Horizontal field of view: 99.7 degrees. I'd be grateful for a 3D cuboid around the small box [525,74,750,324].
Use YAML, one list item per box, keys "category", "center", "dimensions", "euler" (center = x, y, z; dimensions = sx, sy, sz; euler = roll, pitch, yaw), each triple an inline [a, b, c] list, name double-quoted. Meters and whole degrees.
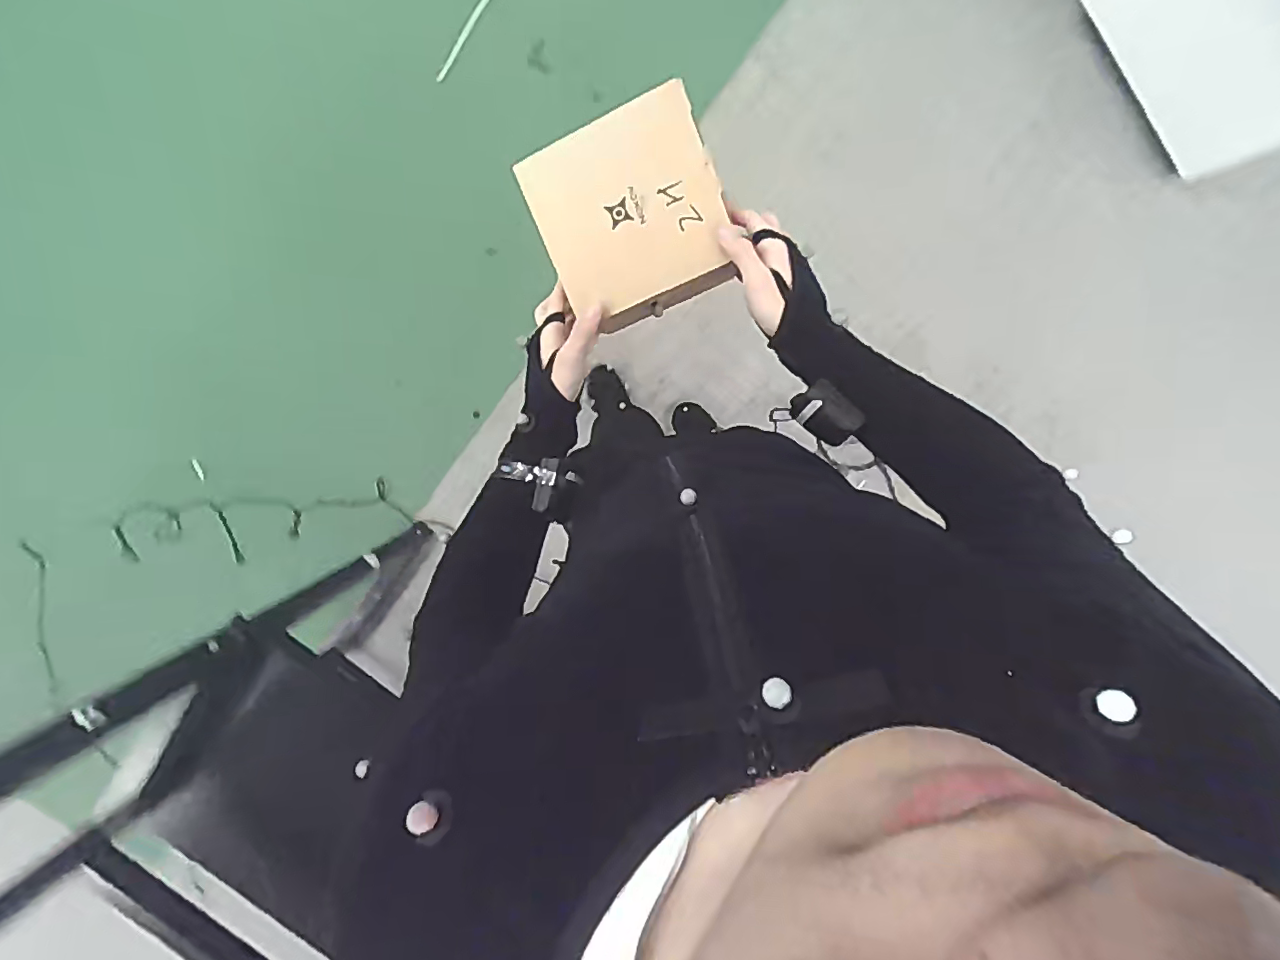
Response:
- category: "small box"
  center: [0.008, -0.278, 0.587]
  dimensions: [0.179, 0.176, 0.168]
  euler: [-20, 101, 11]
